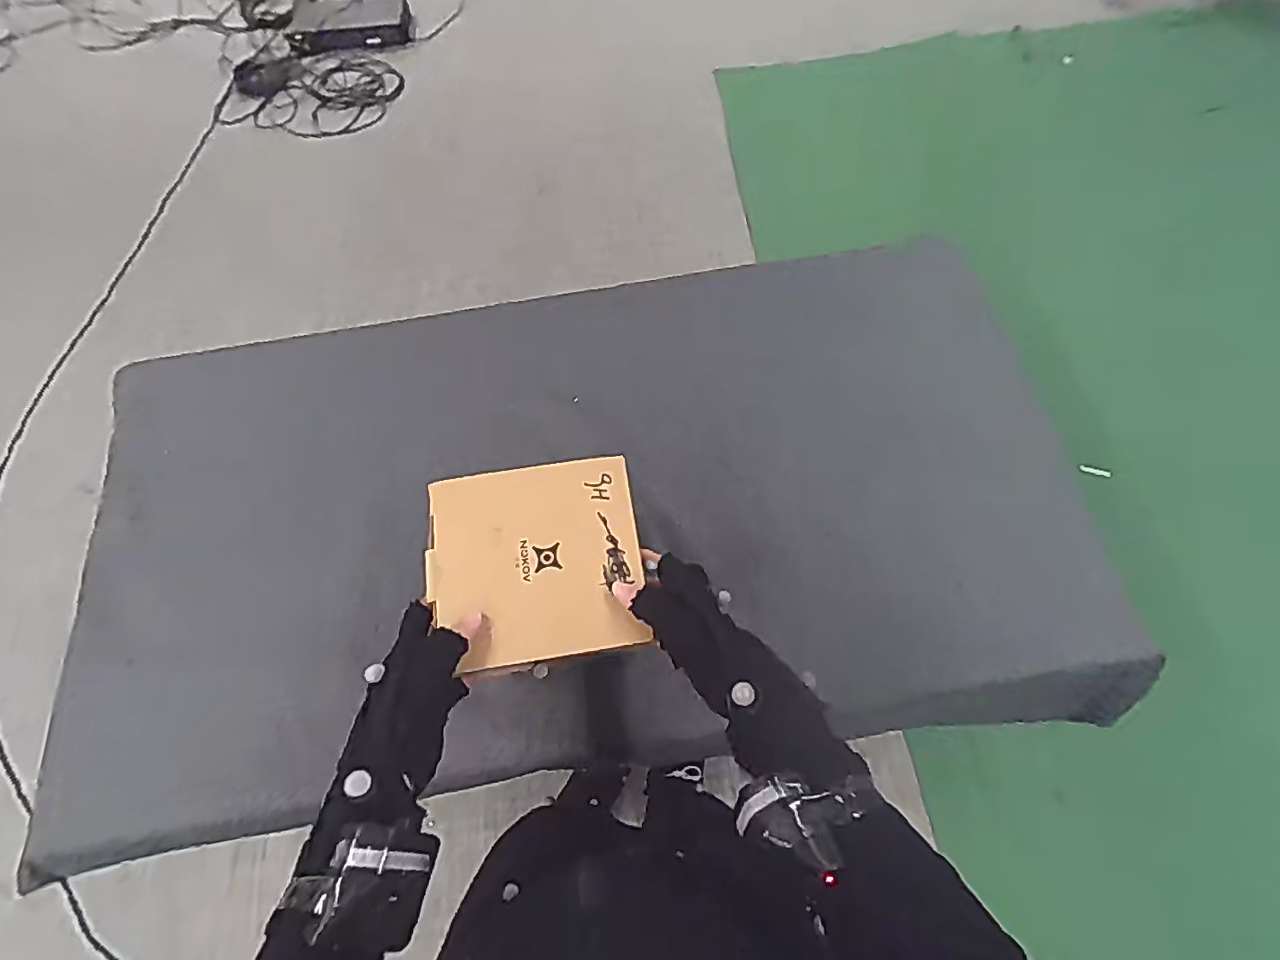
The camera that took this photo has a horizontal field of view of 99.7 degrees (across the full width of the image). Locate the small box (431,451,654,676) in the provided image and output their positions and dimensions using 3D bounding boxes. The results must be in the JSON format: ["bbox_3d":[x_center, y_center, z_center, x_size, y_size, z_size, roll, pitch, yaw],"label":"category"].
[{"bbox_3d":[-0.088,0.092,0.536,0.179,0.176,0.168,-11,69,-6],"label":"small box"}]
